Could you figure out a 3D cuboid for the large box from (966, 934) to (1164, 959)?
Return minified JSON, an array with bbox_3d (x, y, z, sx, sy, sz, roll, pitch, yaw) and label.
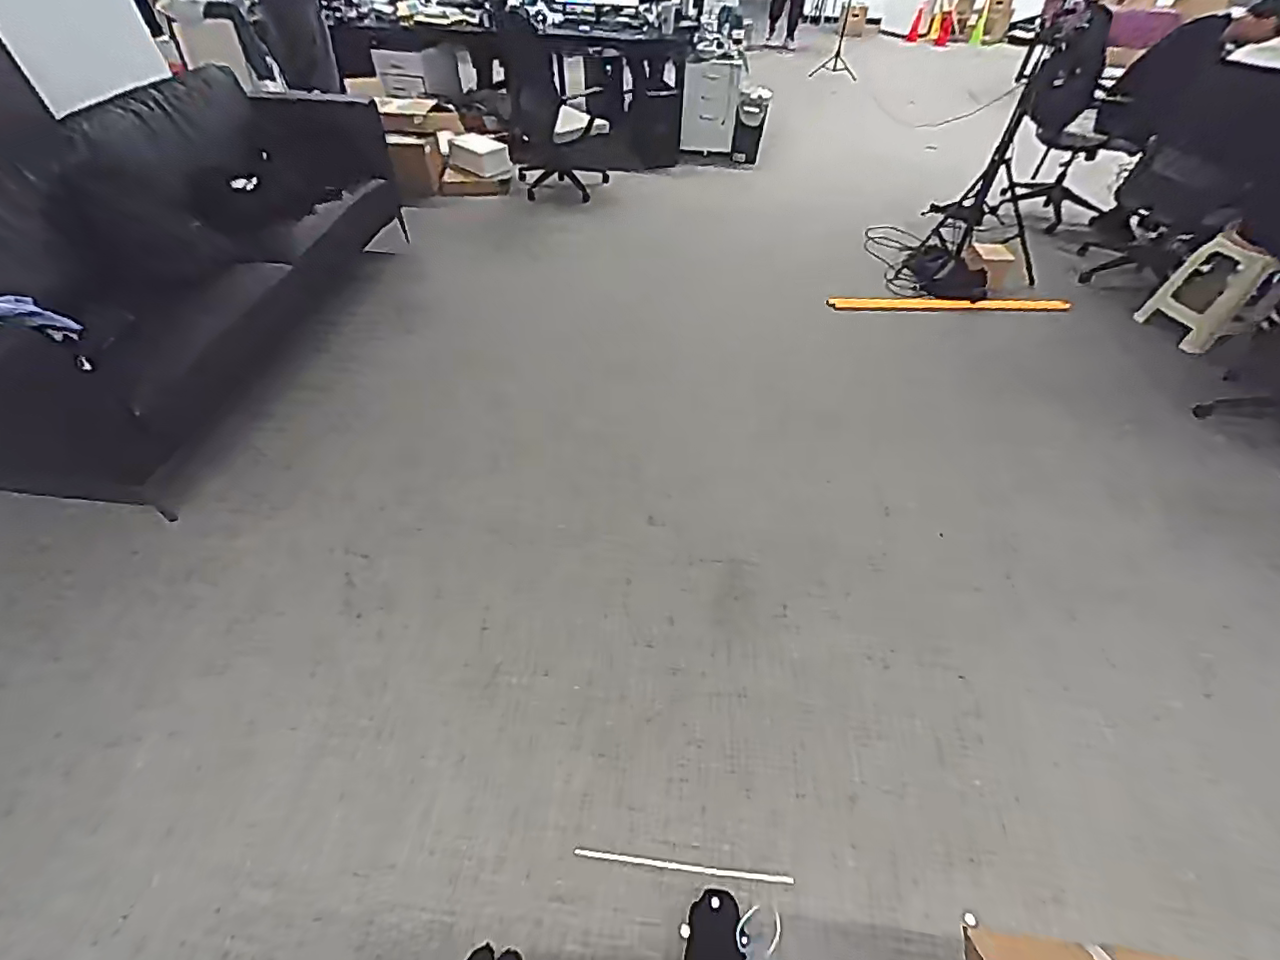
[{"bbox_3d":[0.580,0.780,0.539,0.320,0.408,0.320,3,84,10],"label":"large box"}]
